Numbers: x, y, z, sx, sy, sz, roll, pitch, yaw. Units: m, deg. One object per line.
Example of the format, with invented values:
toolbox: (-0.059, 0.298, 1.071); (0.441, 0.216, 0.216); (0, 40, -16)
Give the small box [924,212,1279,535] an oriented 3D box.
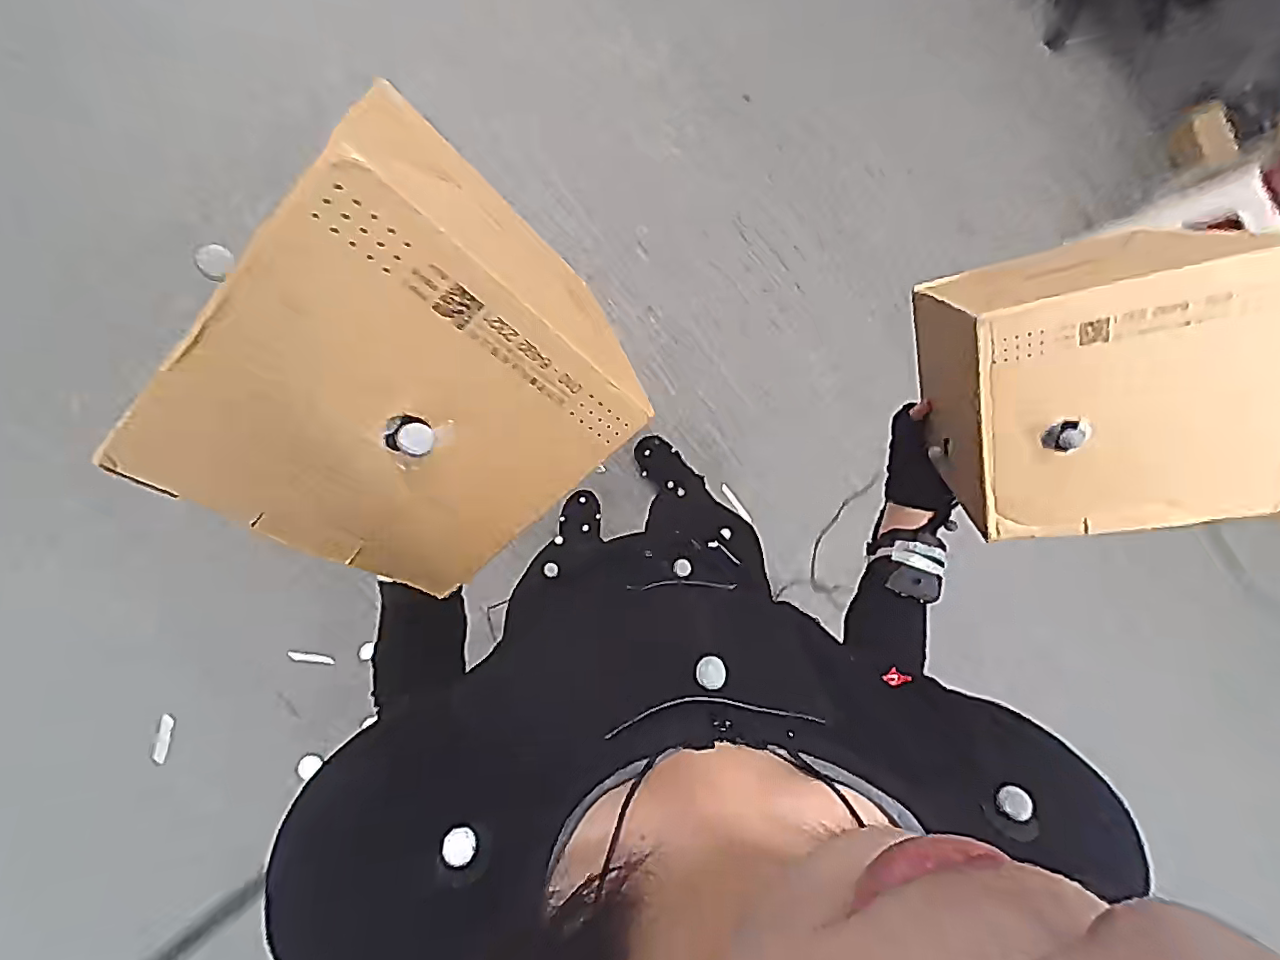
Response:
small box: (0.319, -0.084, 0.393); (0.168, 0.179, 0.176); (-10, 113, 18)
